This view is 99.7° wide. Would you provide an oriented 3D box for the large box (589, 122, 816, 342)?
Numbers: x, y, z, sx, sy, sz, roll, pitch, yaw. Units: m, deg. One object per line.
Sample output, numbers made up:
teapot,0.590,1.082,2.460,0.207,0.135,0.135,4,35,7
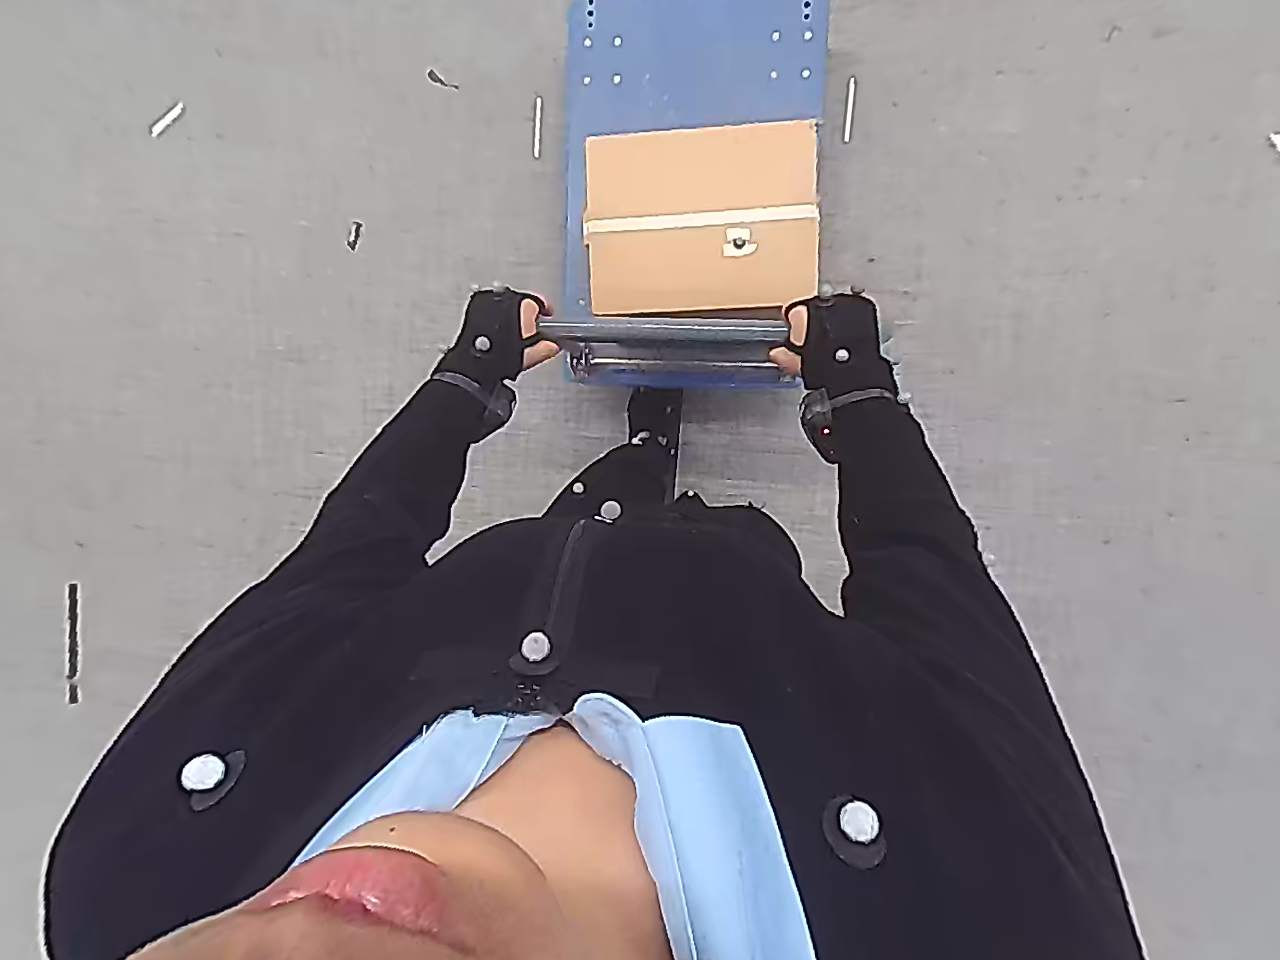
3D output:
large box,0.120,-0.477,1.118,0.408,0.320,0.320,-2,95,4
